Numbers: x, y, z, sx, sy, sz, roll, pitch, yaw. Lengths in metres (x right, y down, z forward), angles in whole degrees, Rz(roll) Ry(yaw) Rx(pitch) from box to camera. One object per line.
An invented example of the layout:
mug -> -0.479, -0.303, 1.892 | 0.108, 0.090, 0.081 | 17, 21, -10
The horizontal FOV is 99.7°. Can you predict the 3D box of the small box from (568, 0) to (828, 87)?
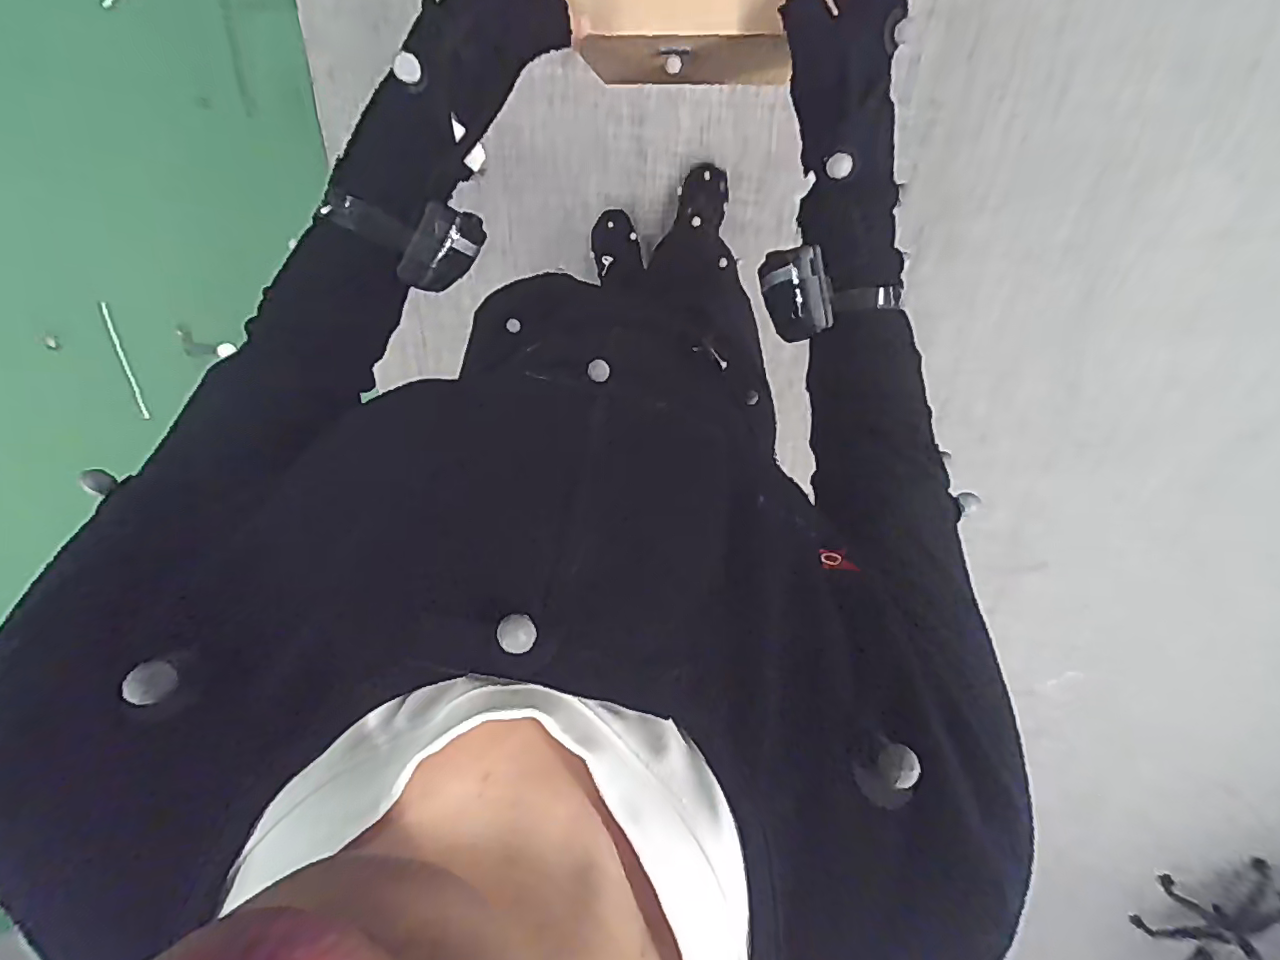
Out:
small box -> 0.046, -0.410, 0.405 | 0.179, 0.176, 0.168 | 3, 116, 4
